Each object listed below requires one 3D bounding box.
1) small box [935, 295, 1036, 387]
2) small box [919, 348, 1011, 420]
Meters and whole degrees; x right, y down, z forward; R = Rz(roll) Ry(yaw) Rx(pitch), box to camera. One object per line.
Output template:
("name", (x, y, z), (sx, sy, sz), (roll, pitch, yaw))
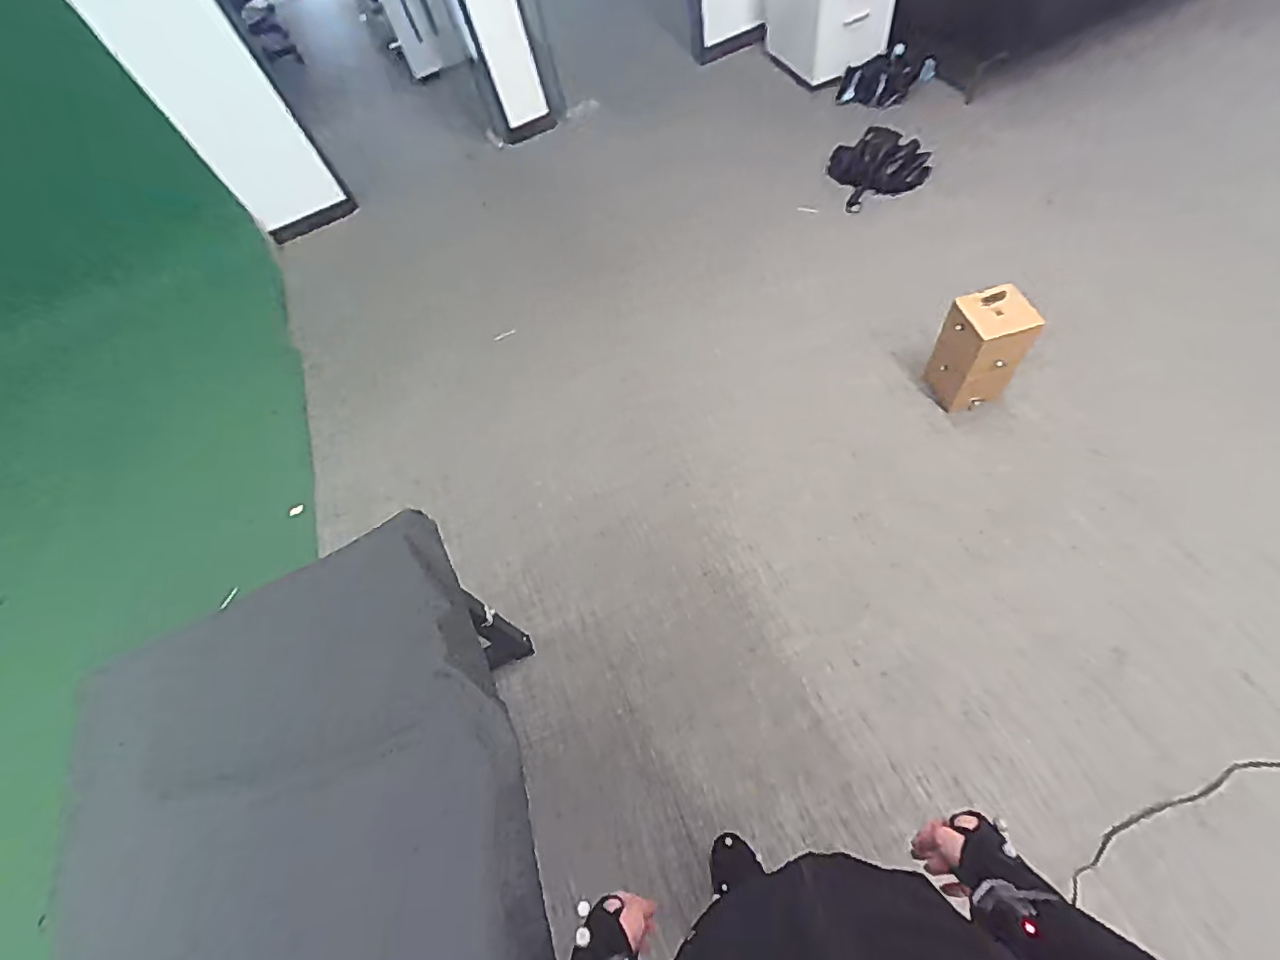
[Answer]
("small box", (1.000, -0.405, 1.586), (0.168, 0.176, 0.179), (-15, 59, 3))
("small box", (1.025, -0.323, 1.726), (0.168, 0.176, 0.179), (-16, 60, 3))
